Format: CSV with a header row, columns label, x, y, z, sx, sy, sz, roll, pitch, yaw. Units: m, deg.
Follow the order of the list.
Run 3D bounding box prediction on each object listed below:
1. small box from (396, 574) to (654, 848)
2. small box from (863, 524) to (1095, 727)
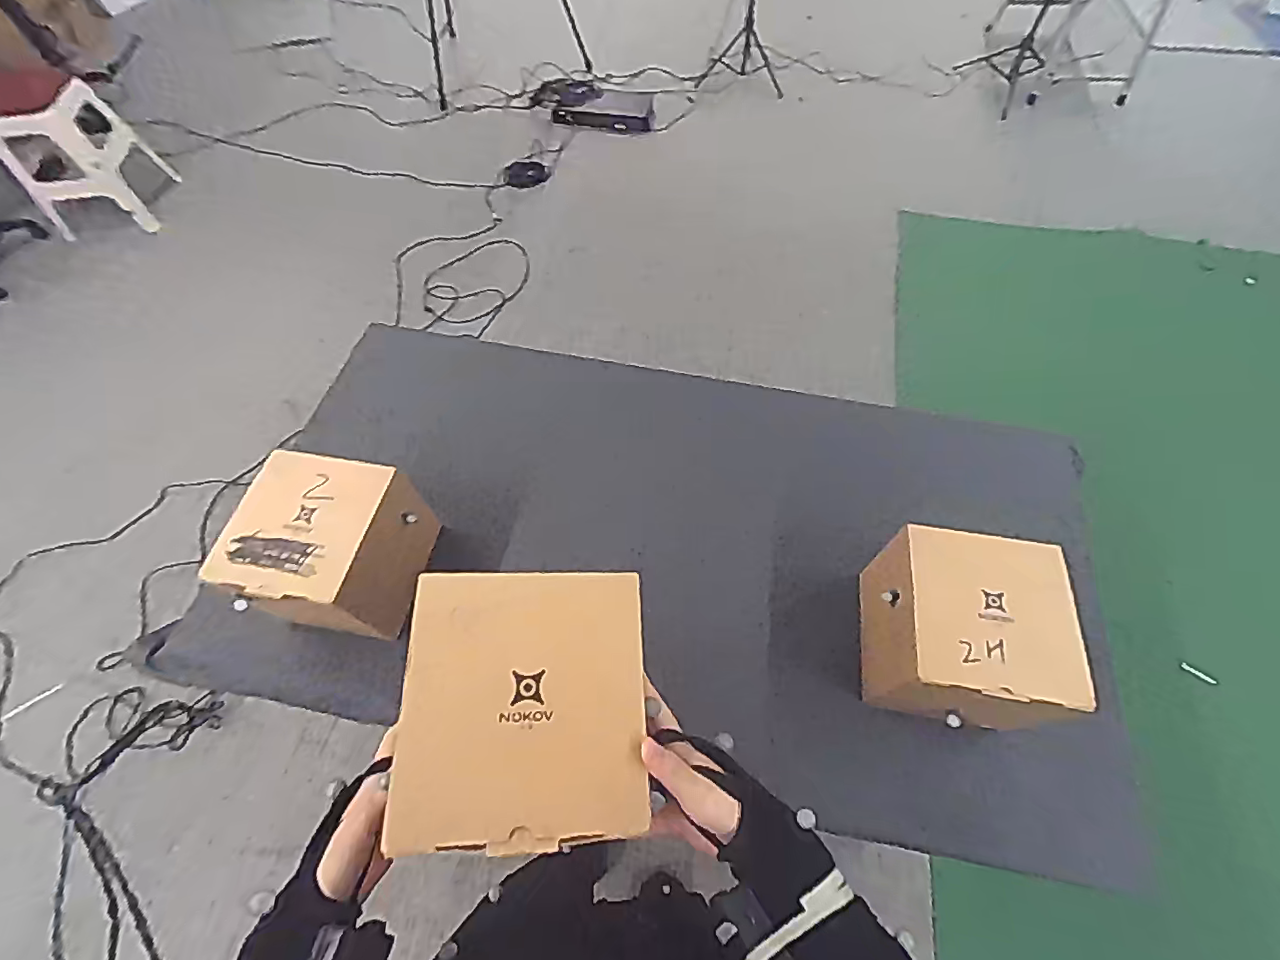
label,x,y,z,sx,sy,sz,roll,pitch,yaw
small box,-0.087,0.187,0.452,0.168,0.176,0.179,1,64,-9
small box,0.370,0.174,0.632,0.168,0.176,0.179,7,60,7
